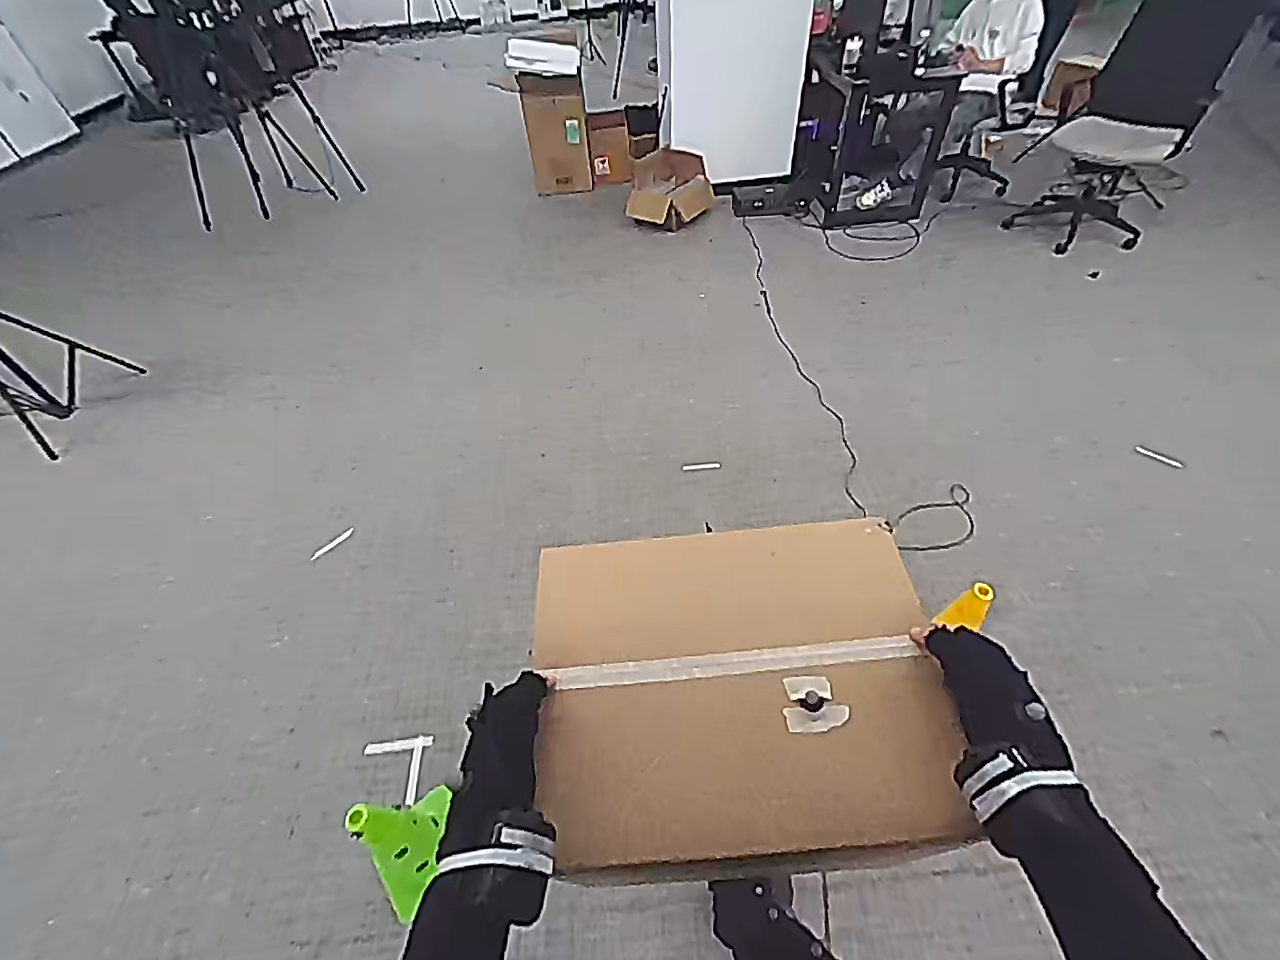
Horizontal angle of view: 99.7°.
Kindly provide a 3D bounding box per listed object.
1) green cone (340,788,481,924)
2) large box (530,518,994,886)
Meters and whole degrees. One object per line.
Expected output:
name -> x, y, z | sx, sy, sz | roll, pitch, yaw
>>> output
green cone -> -0.505, 0.739, 1.115 | 0.202, 0.368, 0.200 | -36, 53, -23
large box -> 0.102, 0.278, 0.662 | 0.408, 0.320, 0.320 | -6, 51, 1
